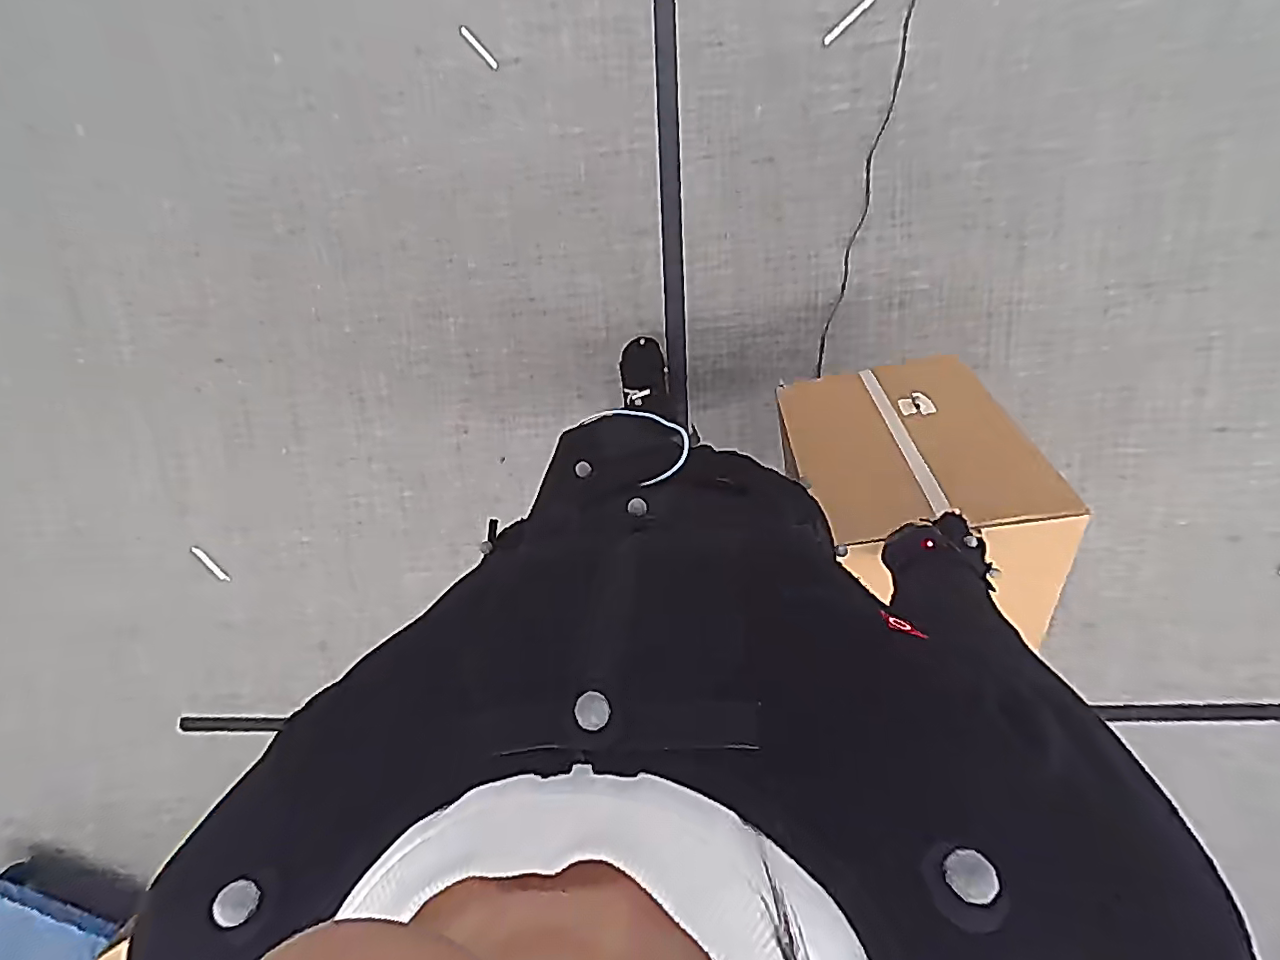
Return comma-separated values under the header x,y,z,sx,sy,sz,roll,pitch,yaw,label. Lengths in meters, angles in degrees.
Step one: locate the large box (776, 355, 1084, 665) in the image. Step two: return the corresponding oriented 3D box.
x,y,z,sx,sy,sz,roll,pitch,yaw,label
0.432,0.043,0.918,0.320,0.408,0.320,-9,128,10,large box
